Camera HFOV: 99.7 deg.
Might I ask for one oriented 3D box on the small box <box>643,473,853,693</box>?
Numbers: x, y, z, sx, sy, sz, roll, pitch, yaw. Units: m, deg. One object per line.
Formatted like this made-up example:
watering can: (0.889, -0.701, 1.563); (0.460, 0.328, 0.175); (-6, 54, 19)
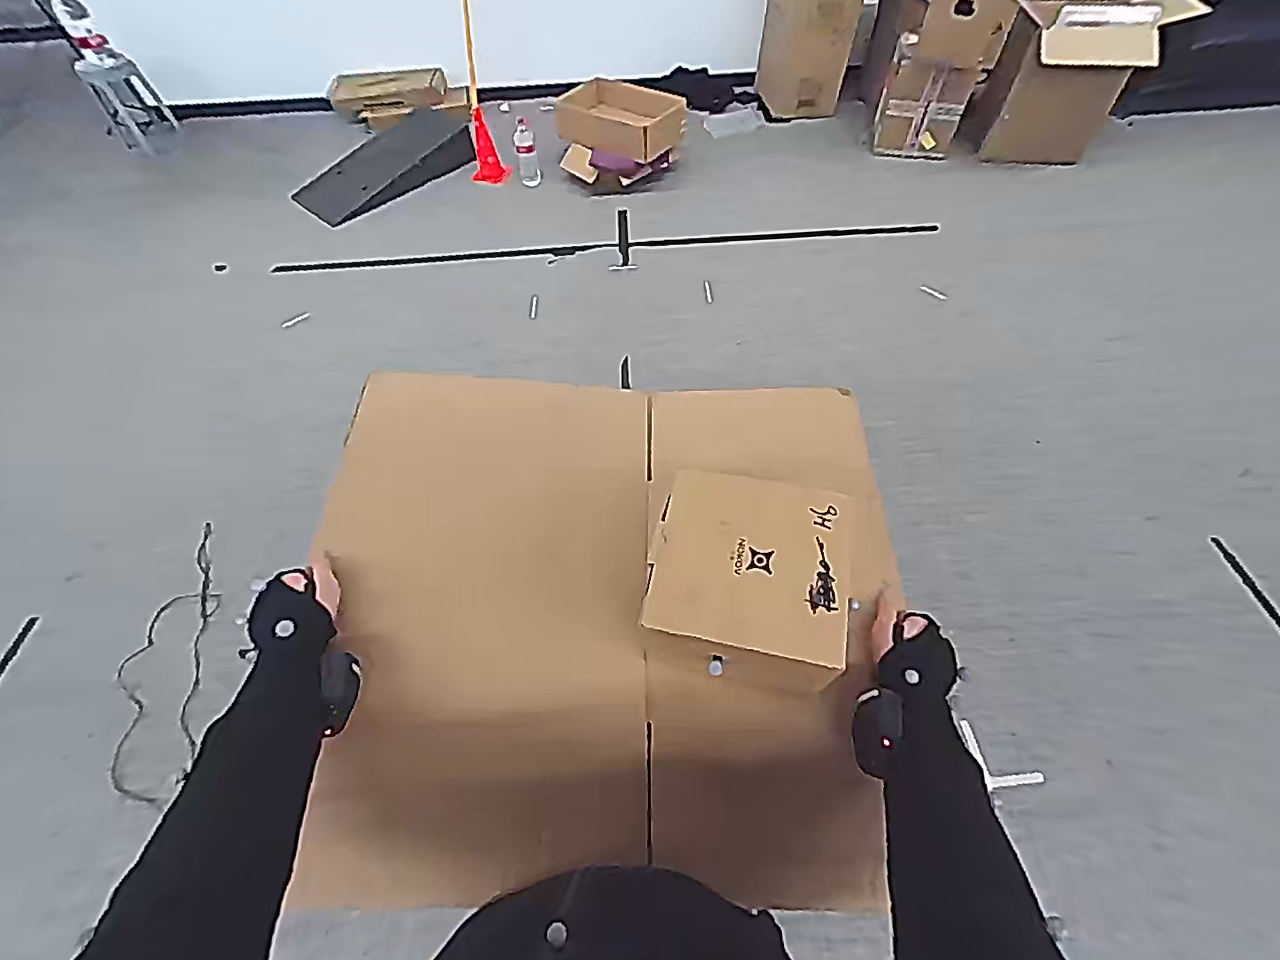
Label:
small box: (0.112, 0.114, 0.571); (0.179, 0.176, 0.168); (9, 61, 11)
